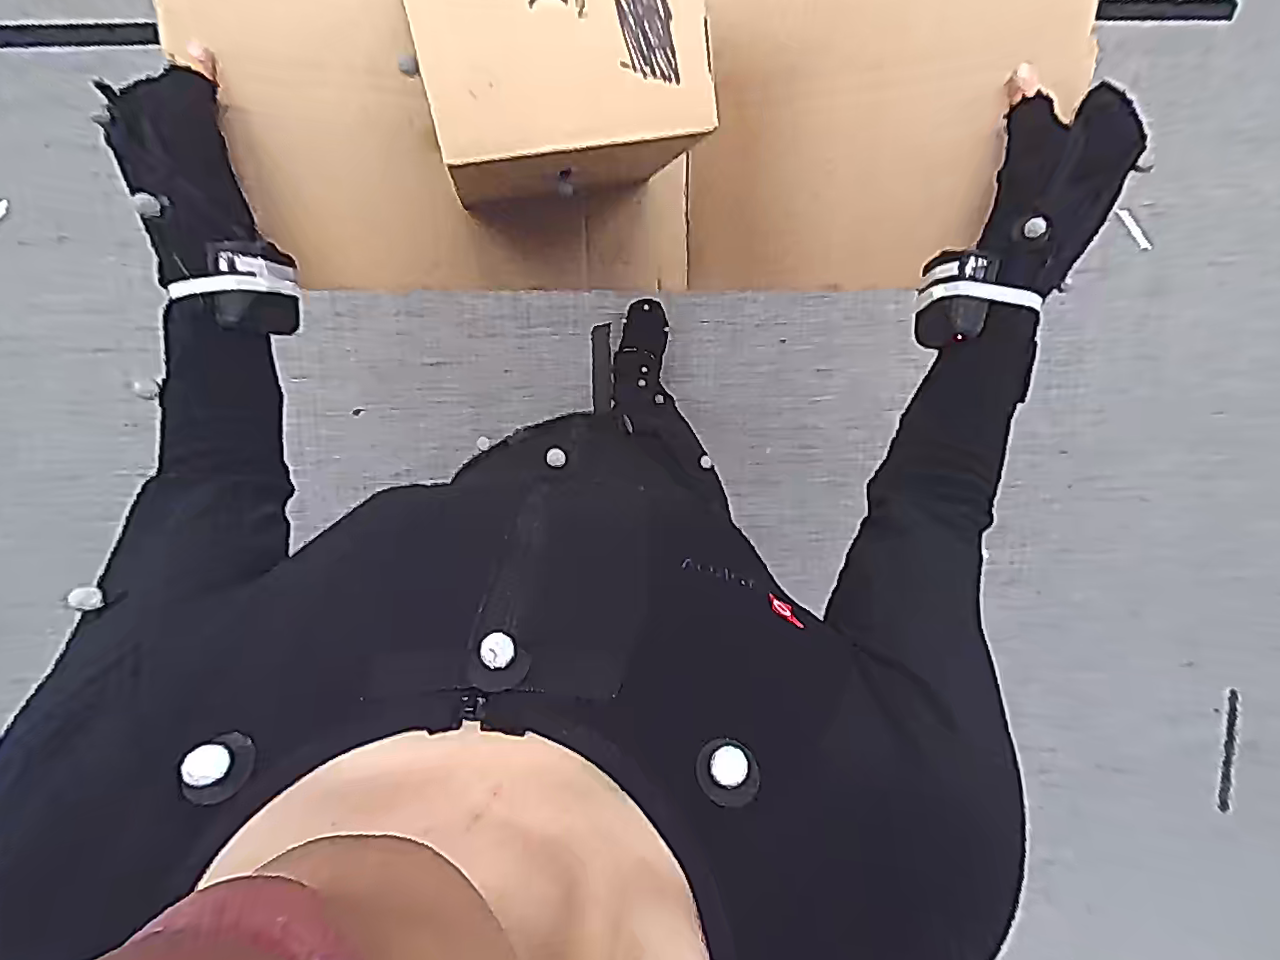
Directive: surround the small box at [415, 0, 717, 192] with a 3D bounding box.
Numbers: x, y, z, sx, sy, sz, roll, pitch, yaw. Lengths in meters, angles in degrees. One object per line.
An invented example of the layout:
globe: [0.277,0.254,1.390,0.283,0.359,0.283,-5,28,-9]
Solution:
small box: [-0.062,-0.318,0.387,0.179,0.176,0.168,-13,112,-9]
